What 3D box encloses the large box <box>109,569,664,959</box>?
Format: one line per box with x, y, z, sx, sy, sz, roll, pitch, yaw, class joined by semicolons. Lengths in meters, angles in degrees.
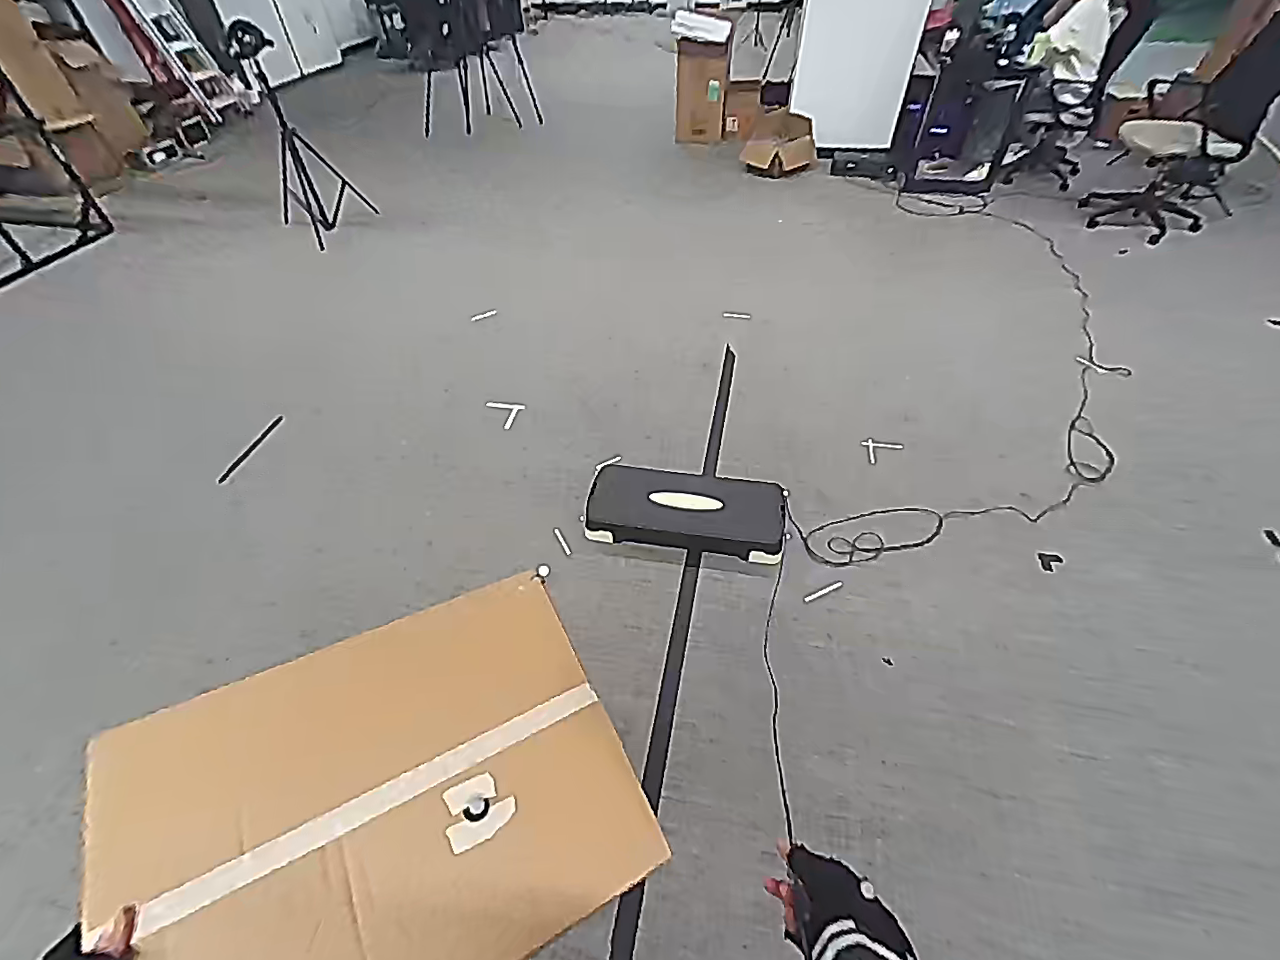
-0.242;0.364;0.591;0.408;0.320;0.320;-18;58;-25;large box
